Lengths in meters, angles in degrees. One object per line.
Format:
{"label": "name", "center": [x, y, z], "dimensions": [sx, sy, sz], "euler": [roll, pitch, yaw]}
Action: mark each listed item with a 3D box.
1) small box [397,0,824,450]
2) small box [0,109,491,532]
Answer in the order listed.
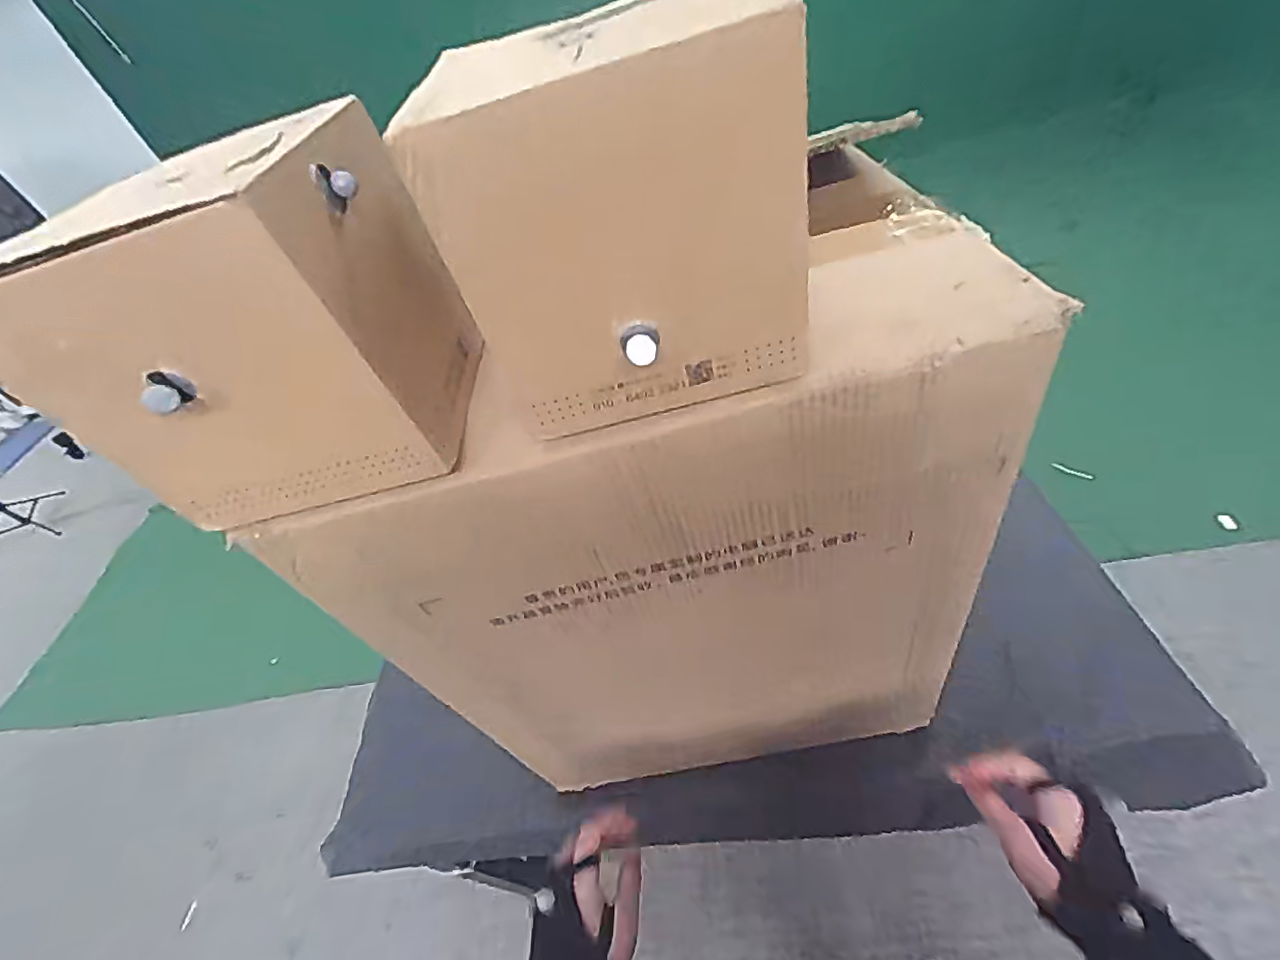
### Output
{"label": "small box", "center": [-0.004, -0.145, 0.313], "dimensions": [0.168, 0.176, 0.179], "euler": [-12, 47, 6]}
{"label": "small box", "center": [-0.217, -0.088, 0.332], "dimensions": [0.179, 0.176, 0.168], "euler": [-13, 46, 7]}
